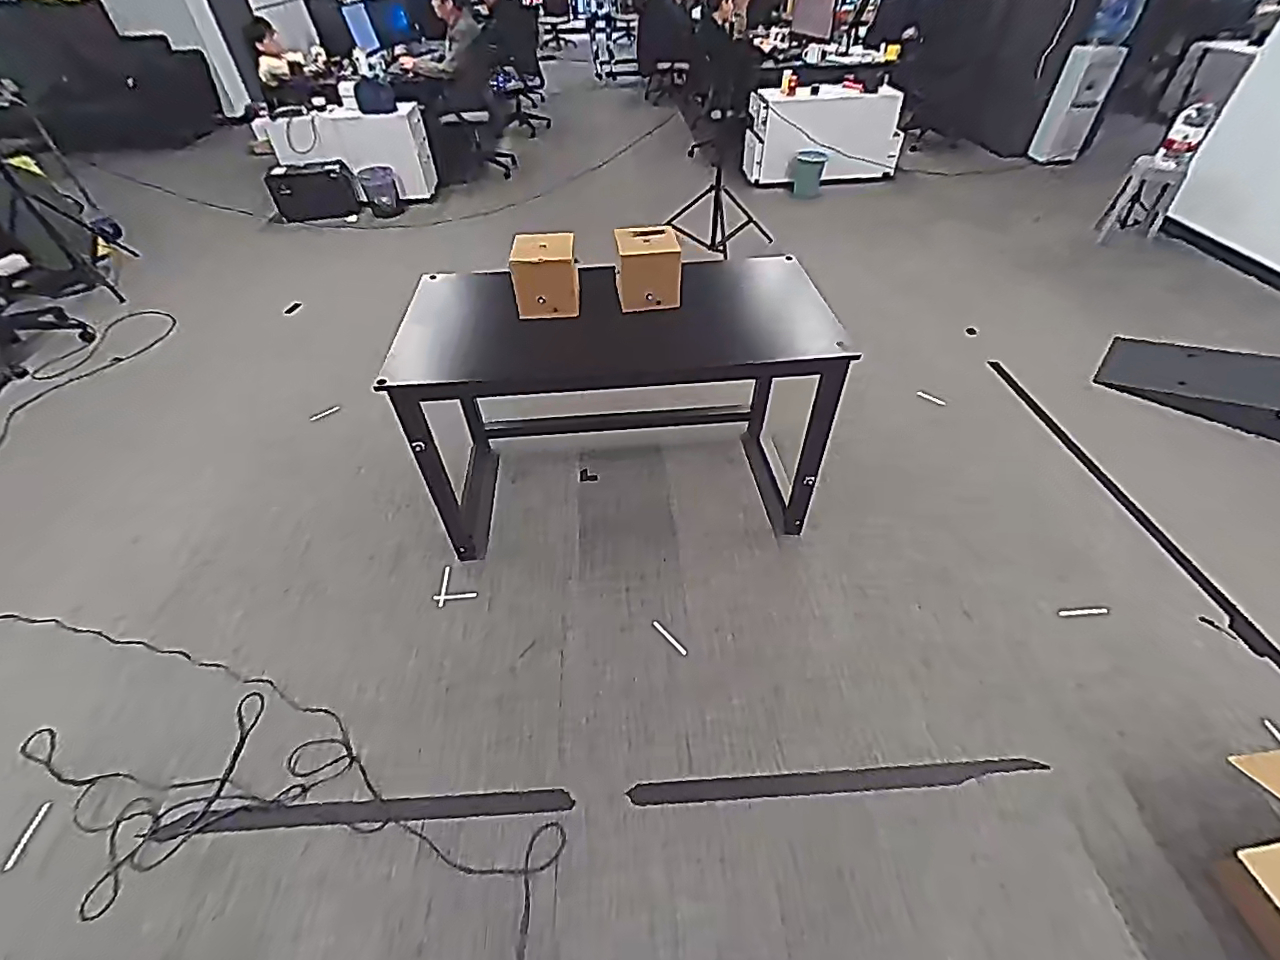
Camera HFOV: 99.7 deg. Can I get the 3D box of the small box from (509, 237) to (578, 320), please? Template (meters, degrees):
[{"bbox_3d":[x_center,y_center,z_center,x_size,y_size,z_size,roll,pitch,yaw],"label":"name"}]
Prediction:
[{"bbox_3d":[-0.268,-0.572,1.537,0.168,0.176,0.179,-3,46,-2],"label":"small box"}]
